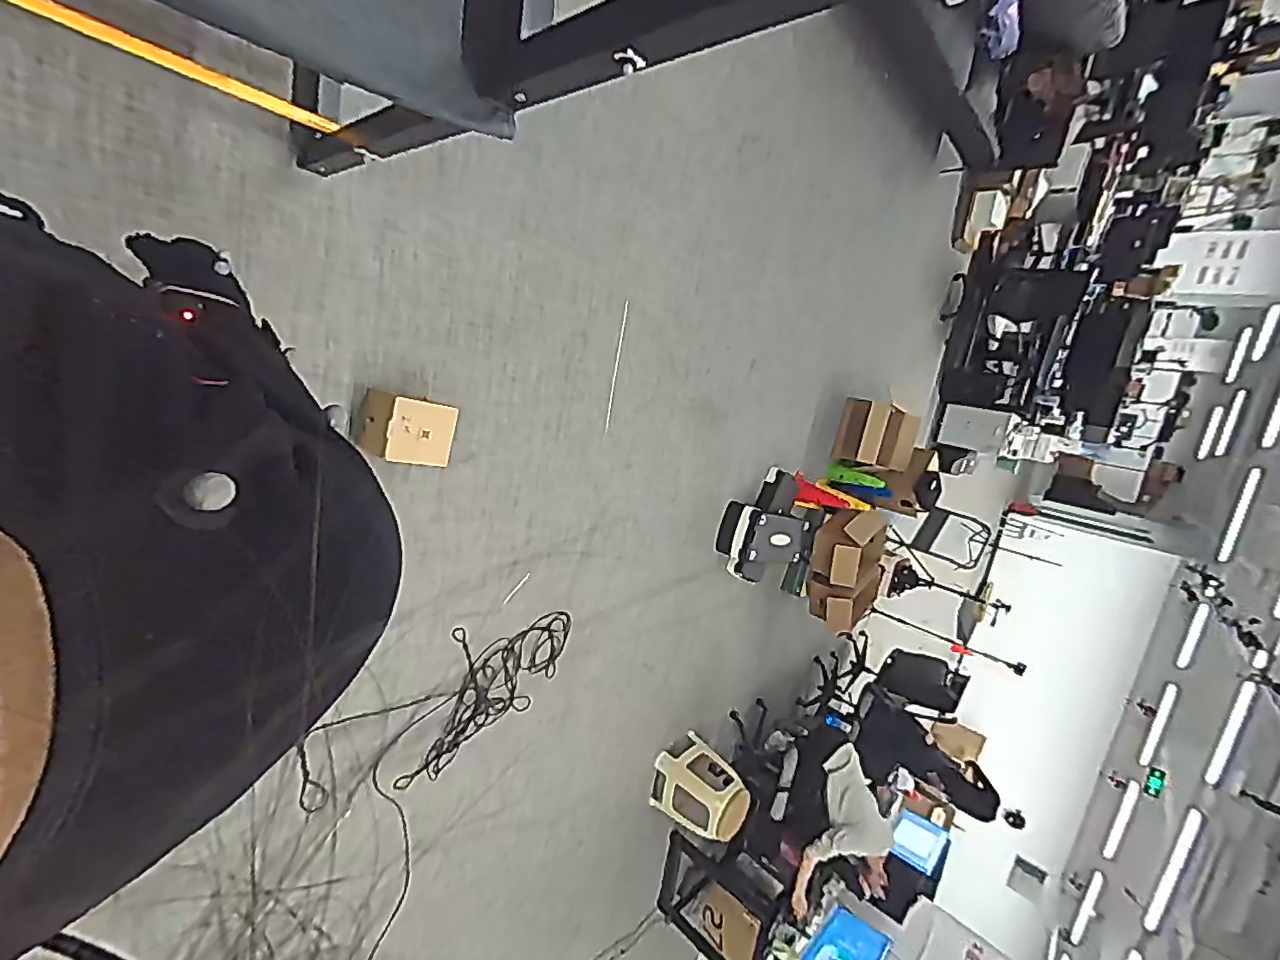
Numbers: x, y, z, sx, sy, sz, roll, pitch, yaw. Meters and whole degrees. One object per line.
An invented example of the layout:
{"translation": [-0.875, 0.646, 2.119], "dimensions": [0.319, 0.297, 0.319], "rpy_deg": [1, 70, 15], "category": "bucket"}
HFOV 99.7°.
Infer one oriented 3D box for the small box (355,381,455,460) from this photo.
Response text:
{"translation": [-0.633, -0.161, 1.454], "dimensions": [0.179, 0.176, 0.168], "rpy_deg": [8, 99, -49], "category": "small box"}
